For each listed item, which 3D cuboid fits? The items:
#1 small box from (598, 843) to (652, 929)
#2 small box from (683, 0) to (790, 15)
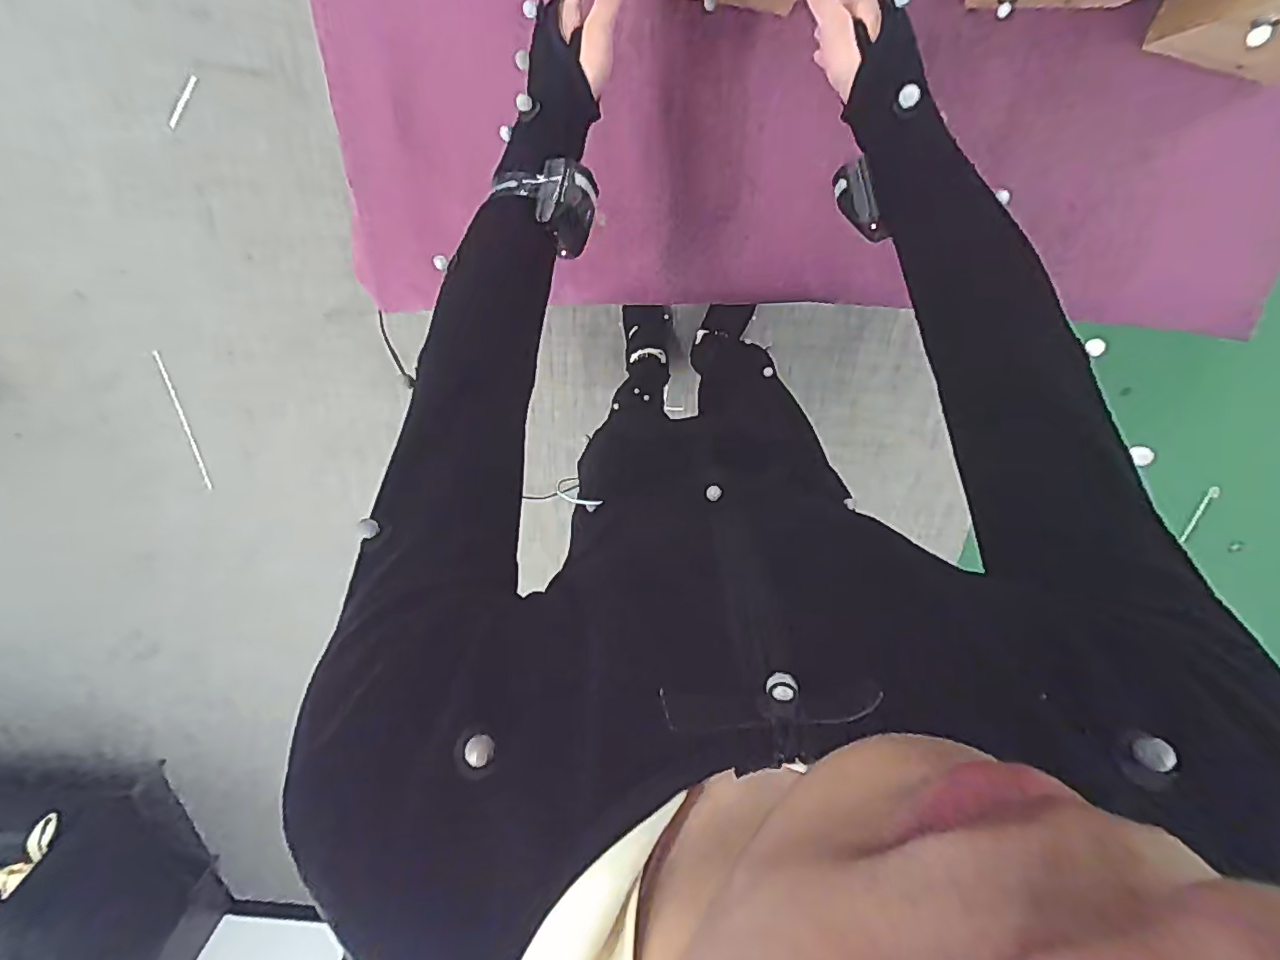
[{"bbox_3d":[-0.049,1.397,1.864,0.168,0.176,0.179,6,116,2],"label":"small box"},{"bbox_3d":[0.087,-0.565,0.498,0.179,0.176,0.168,10,117,-2],"label":"small box"}]
